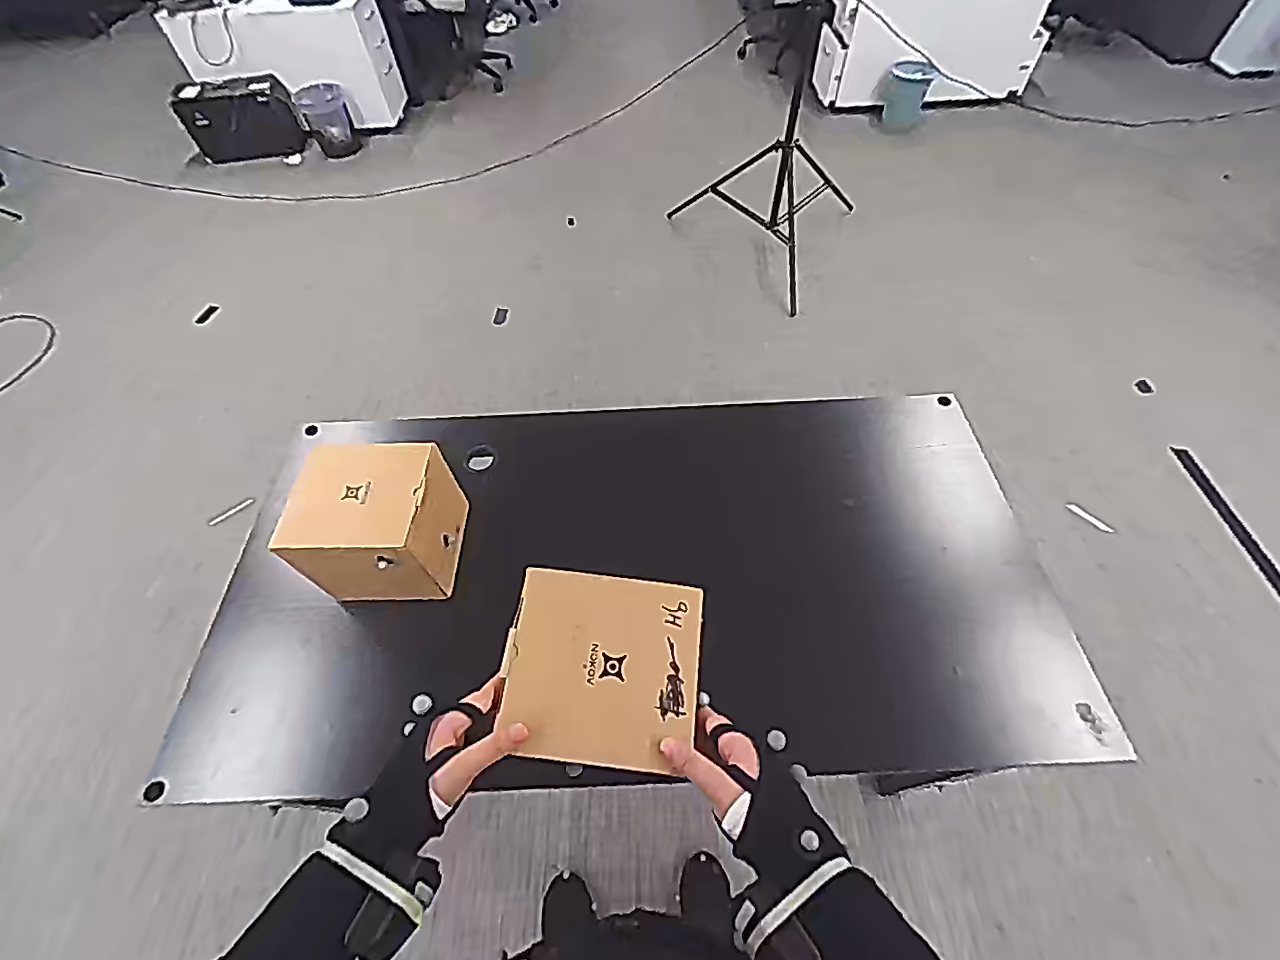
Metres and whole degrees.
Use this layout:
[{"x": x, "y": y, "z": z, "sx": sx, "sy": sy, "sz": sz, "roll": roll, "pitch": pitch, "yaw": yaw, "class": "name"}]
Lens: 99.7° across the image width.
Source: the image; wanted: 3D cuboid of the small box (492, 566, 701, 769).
[{"x": -0.037, "y": 0.204, "z": 0.574, "sx": 0.179, "sy": 0.176, "sz": 0.168, "roll": 7, "pitch": 63, "yaw": 1, "class": "small box"}]

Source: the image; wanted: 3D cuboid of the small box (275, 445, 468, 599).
[{"x": -0.369, "y": 0.065, "z": 0.783, "sx": 0.179, "sy": 0.176, "sz": 0.168, "roll": -1, "pitch": 56, "yaw": 0, "class": "small box"}]
